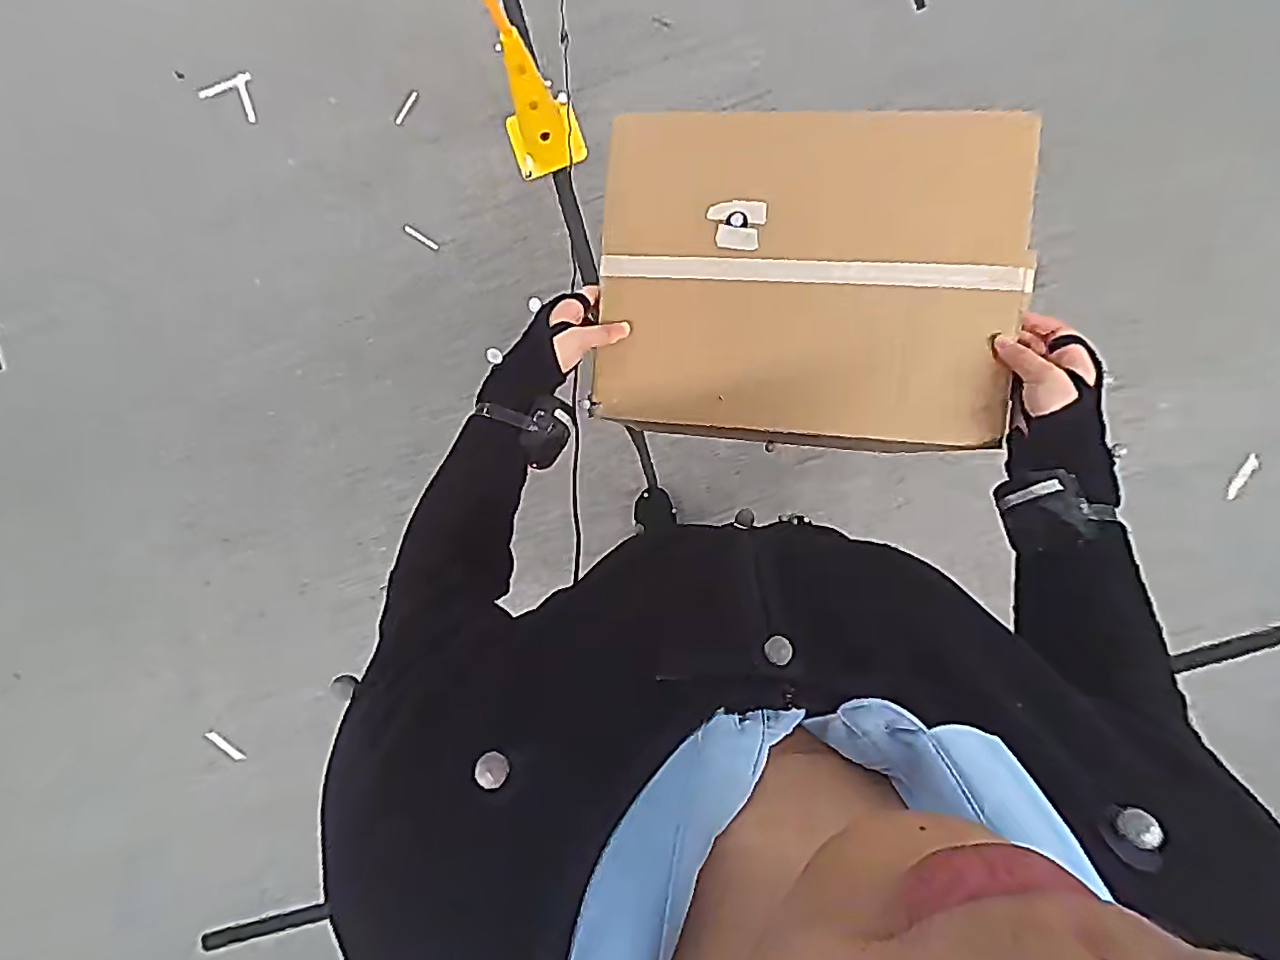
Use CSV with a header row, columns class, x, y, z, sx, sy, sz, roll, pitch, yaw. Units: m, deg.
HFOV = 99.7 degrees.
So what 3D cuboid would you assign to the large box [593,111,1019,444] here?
class,x,y,z,sx,sy,sz,roll,pitch,yaw
large box,0.180,-0.211,0.691,0.408,0.320,0.320,5,91,10
